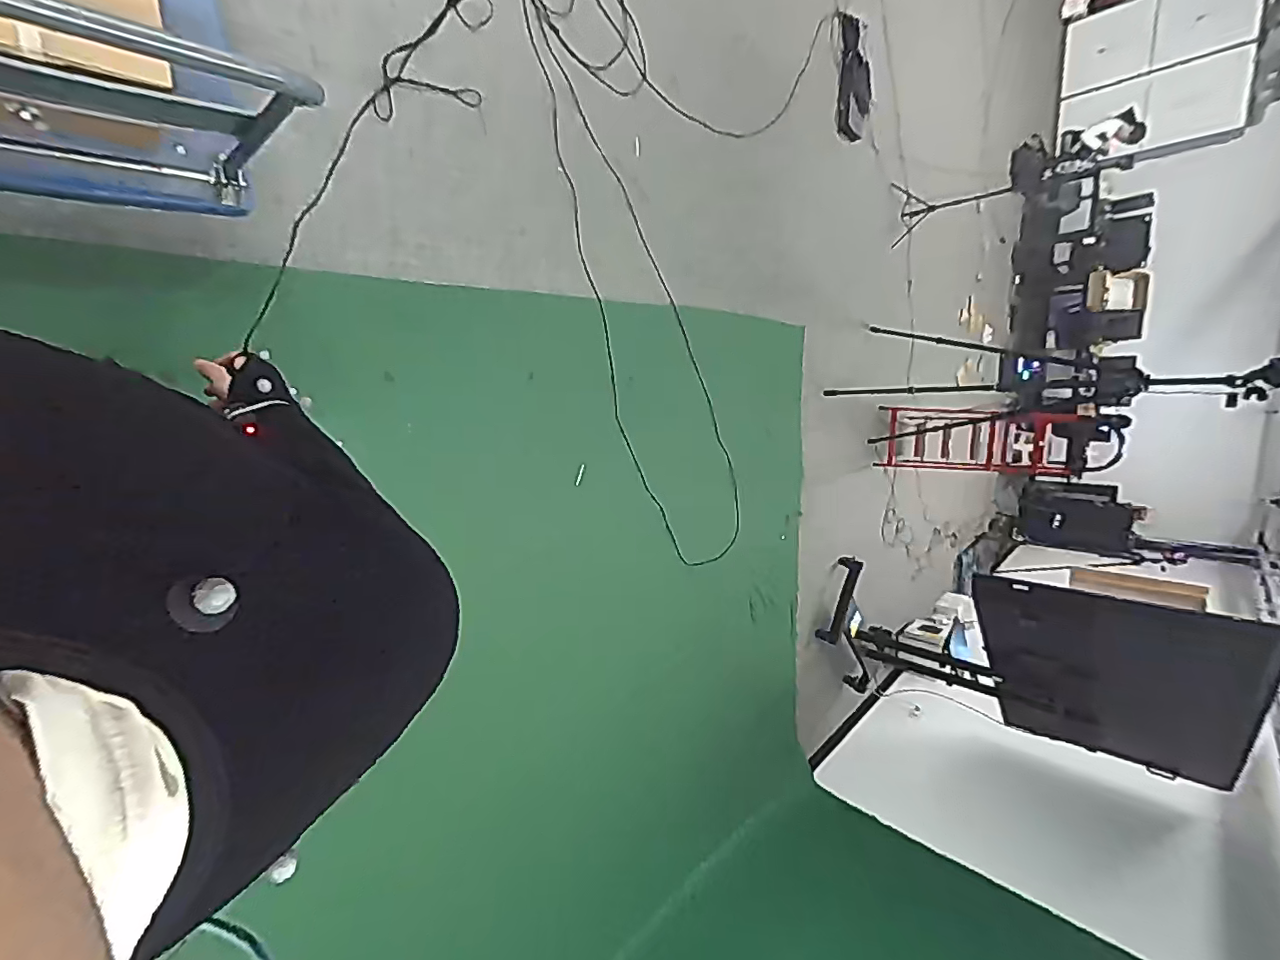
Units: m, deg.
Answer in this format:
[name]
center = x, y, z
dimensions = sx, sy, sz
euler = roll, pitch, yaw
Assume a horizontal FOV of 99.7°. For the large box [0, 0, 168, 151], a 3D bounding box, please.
[large box]
center = -0.986, -0.806, 0.838
dimensions = 0.320, 0.320, 0.408
euler = -13, 104, -44
